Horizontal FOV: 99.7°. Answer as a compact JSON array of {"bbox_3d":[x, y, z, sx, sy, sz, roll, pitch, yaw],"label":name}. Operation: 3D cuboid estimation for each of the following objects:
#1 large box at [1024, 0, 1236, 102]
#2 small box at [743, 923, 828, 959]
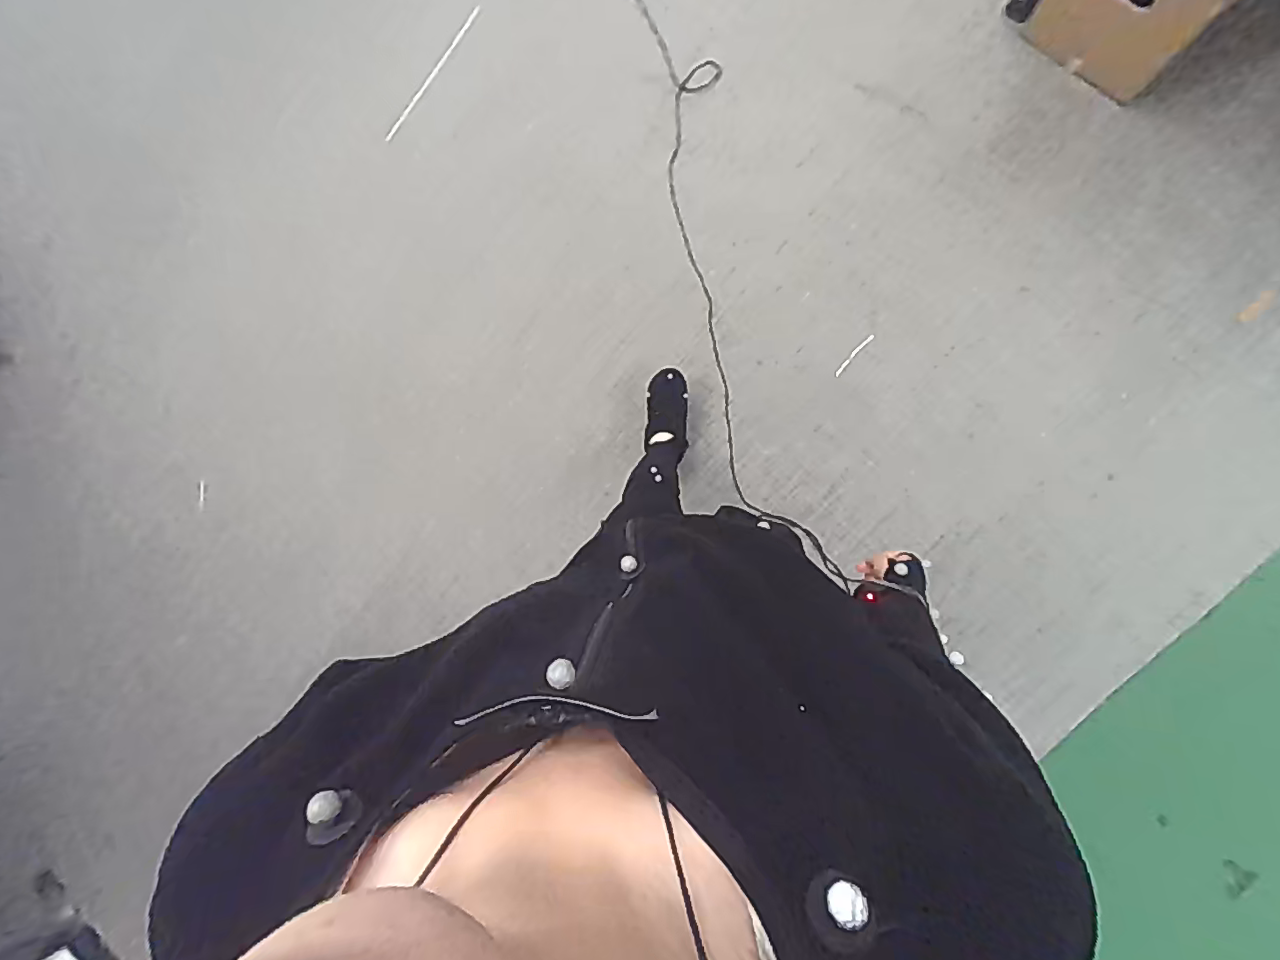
[{"bbox_3d":[1.136,-1.131,1.123,0.320,0.320,0.408,43,100,9],"label":"large box"},{"bbox_3d":[0.285,1.040,1.062,0.168,0.176,0.179,10,92,11],"label":"small box"}]
